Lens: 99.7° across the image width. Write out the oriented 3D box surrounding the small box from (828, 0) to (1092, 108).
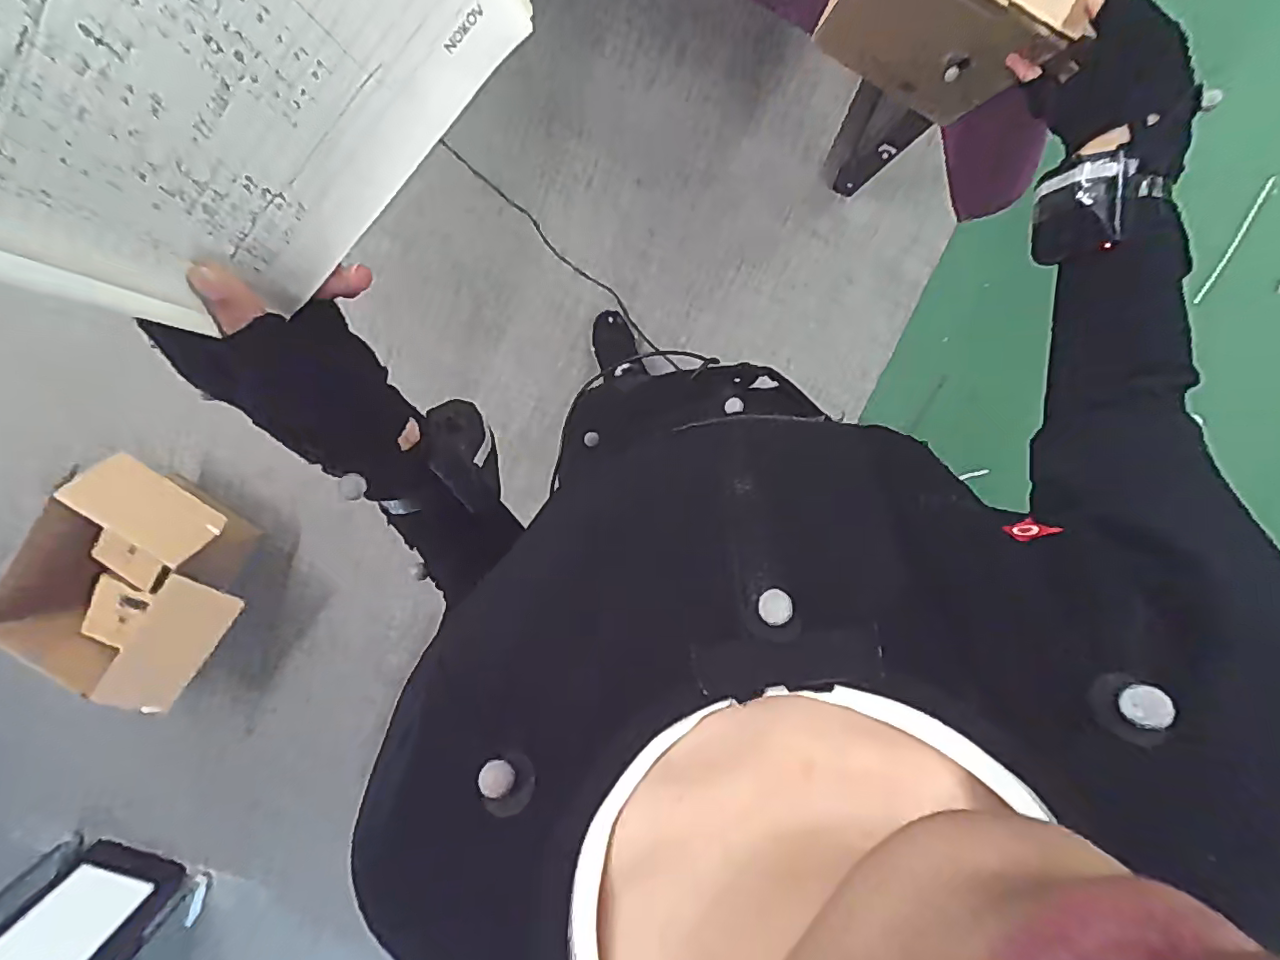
[{"bbox_3d":[0.283,-0.459,0.448,0.168,0.176,0.179,25,103,-10],"label":"small box"}]
